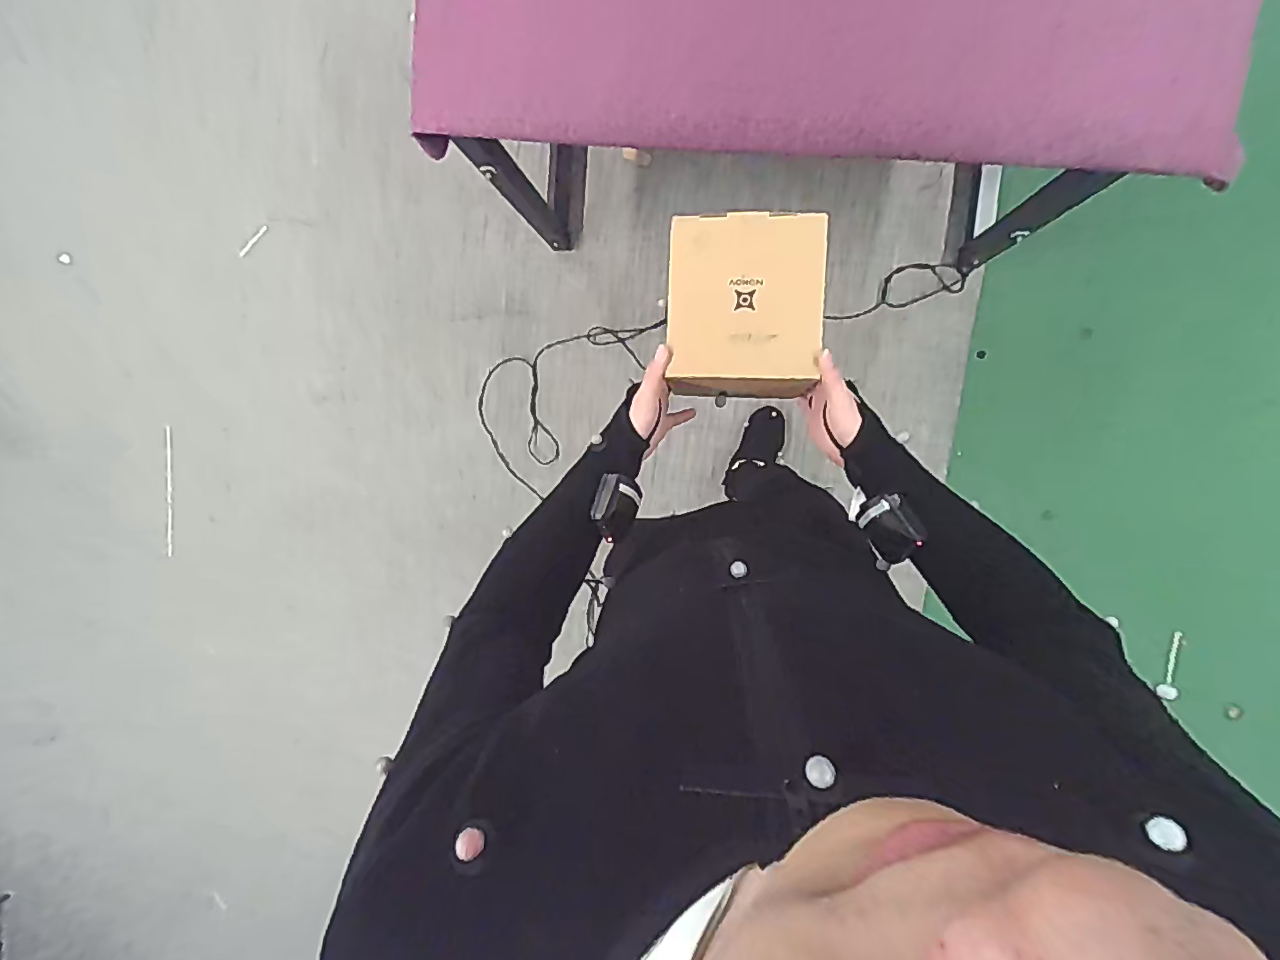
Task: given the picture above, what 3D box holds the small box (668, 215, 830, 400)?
[{"bbox_3d":[0.122,-0.197,0.656,0.168,0.176,0.179,3,93,6],"label":"small box"}]
